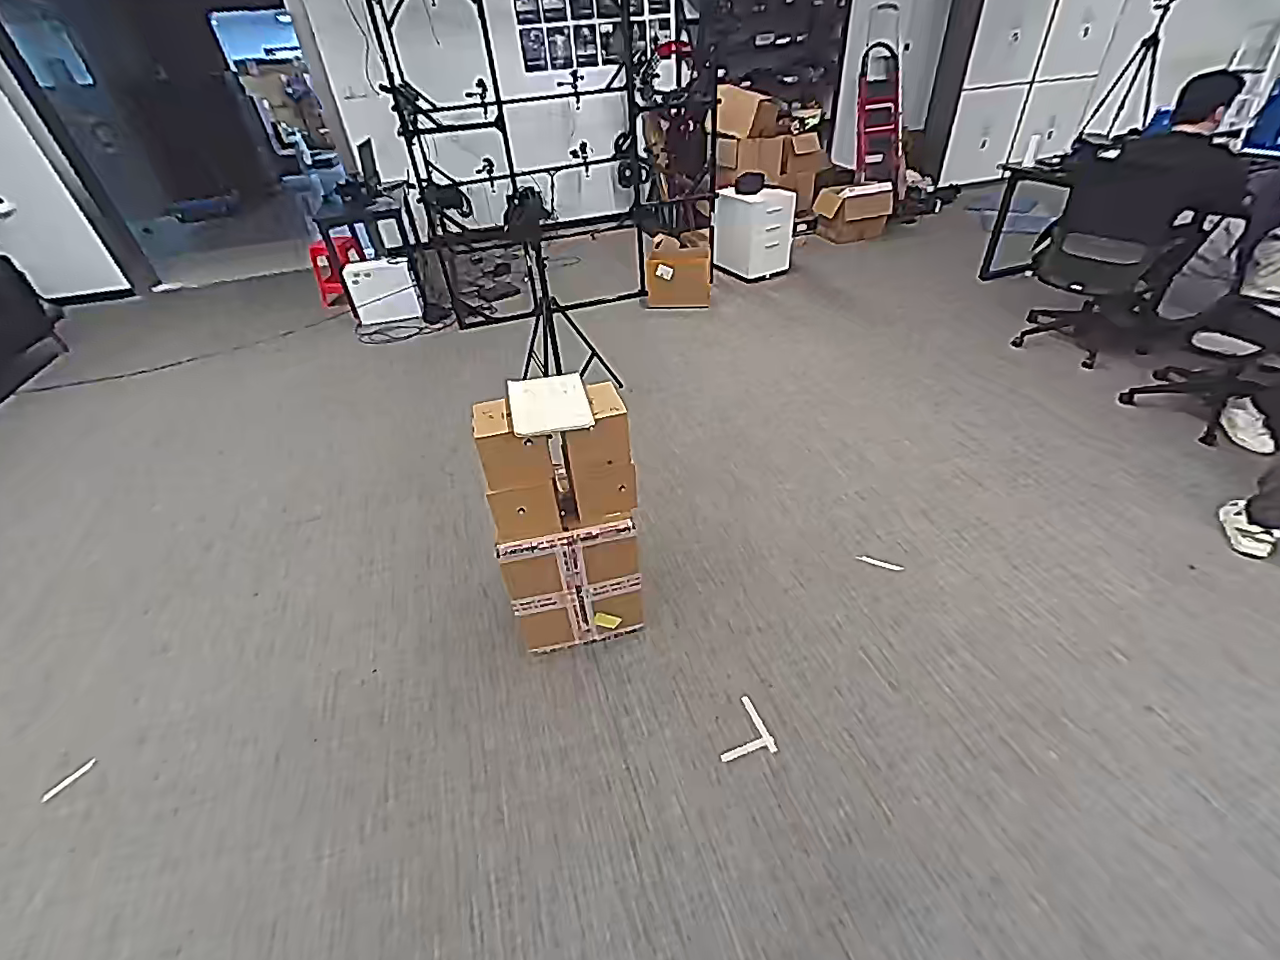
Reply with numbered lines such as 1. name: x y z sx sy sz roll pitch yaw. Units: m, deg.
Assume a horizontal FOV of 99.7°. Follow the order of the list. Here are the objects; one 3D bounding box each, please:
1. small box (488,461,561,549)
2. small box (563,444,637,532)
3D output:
1. small box: -0.320 0.072 1.524 0.179 0.176 0.168 -10 40 -5
2. small box: -0.113 0.024 1.563 0.179 0.176 0.168 -14 40 -12
